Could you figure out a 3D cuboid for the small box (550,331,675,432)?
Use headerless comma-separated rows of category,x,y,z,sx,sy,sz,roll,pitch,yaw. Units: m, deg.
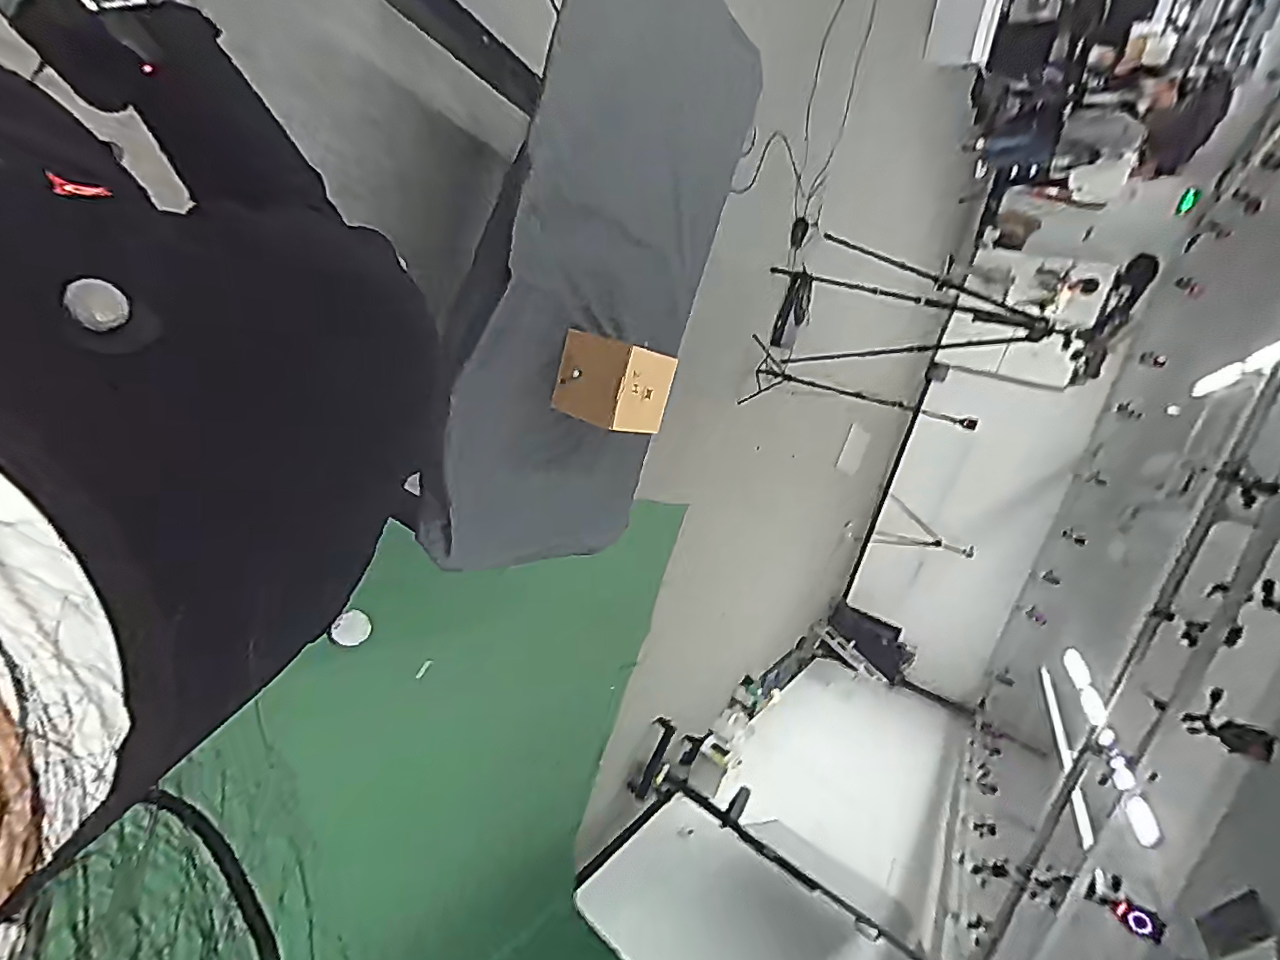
small box,-0.058,-0.205,1.134,0.179,0.176,0.168,-2,111,-56
